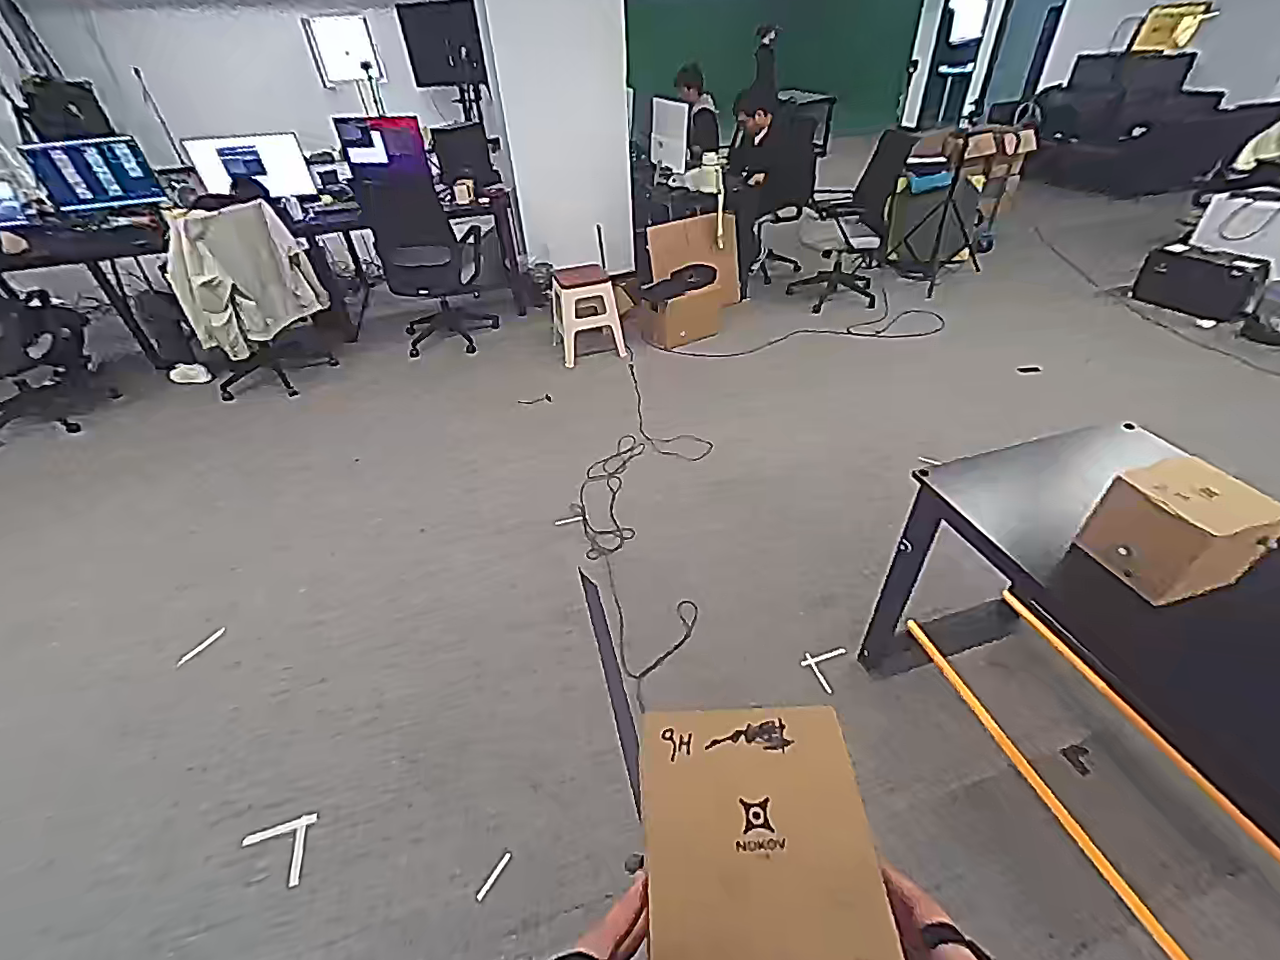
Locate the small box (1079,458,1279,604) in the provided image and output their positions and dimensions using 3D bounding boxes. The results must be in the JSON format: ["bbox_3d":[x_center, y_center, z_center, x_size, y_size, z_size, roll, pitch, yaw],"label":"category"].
[{"bbox_3d":[0.932,0.089,0.943,0.179,0.176,0.168,-12,40,-10],"label":"small box"}]

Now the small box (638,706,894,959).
[{"bbox_3d":[0.083,0.310,0.459,0.168,0.176,0.179,-1,48,-2],"label":"small box"}]
